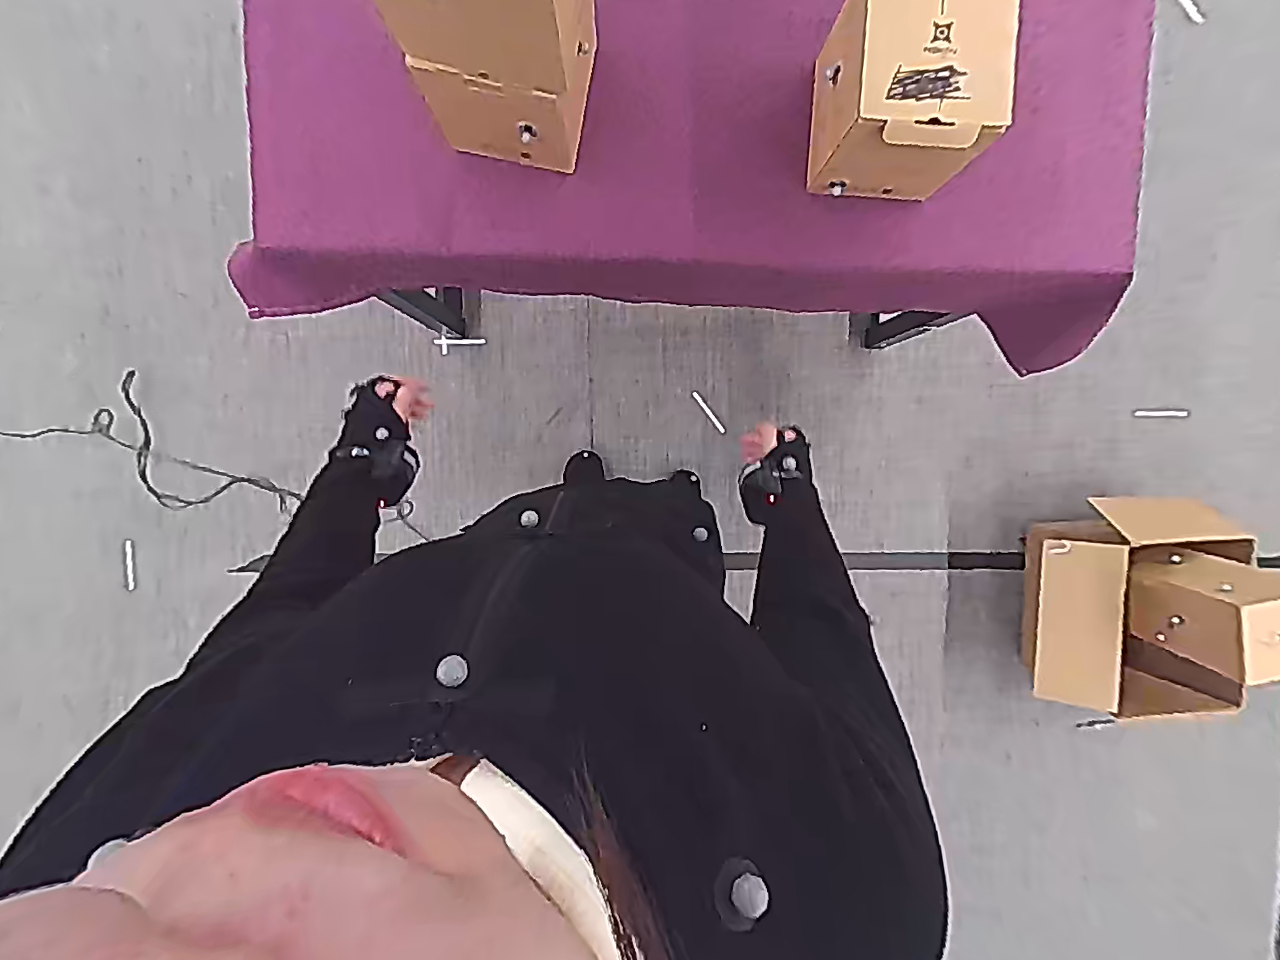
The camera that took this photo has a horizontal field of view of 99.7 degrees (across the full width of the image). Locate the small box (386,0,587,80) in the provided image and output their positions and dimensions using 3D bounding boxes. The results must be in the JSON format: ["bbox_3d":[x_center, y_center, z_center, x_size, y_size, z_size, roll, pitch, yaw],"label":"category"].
[{"bbox_3d":[-0.139,-0.500,0.475,0.179,0.176,0.168,12,94,-3],"label":"small box"}]

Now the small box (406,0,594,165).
[{"bbox_3d":[-0.150,-0.510,0.639,0.168,0.176,0.179,11,93,-3],"label":"small box"}]

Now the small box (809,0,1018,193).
[{"bbox_3d":[0.313,-0.473,0.652,0.168,0.176,0.179,3,93,-2],"label":"small box"}]

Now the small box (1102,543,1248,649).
[{"bbox_3d":[1.250,0.263,1.278,0.168,0.176,0.179,-22,98,2],"label":"small box"}]
